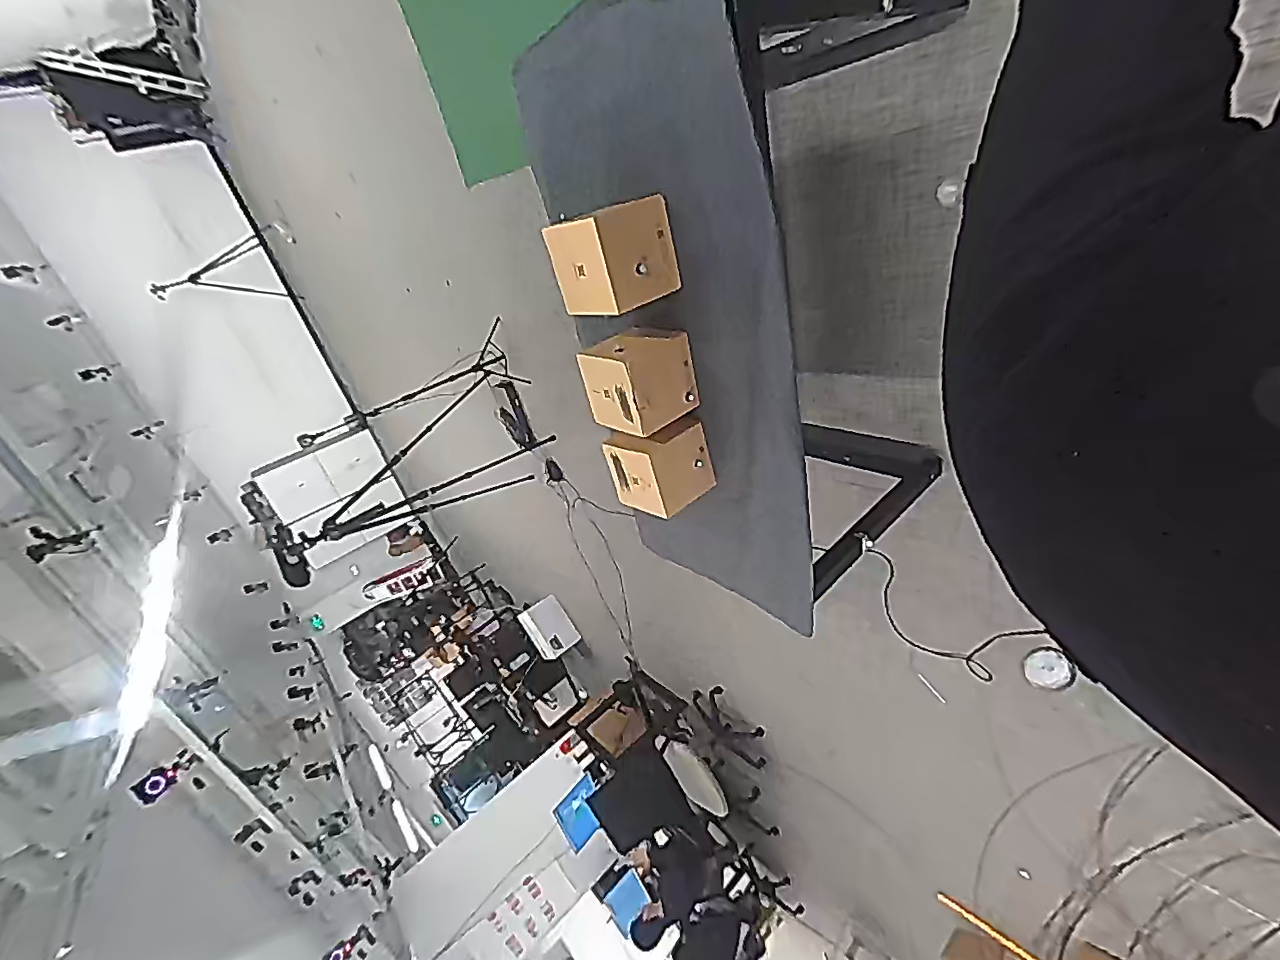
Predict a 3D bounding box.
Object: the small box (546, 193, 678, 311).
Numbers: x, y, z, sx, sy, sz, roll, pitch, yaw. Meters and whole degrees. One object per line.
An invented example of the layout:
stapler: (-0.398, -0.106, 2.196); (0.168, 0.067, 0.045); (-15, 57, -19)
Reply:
small box: (-0.044, -0.431, 1.029); (0.179, 0.176, 0.168); (21, 135, 48)
